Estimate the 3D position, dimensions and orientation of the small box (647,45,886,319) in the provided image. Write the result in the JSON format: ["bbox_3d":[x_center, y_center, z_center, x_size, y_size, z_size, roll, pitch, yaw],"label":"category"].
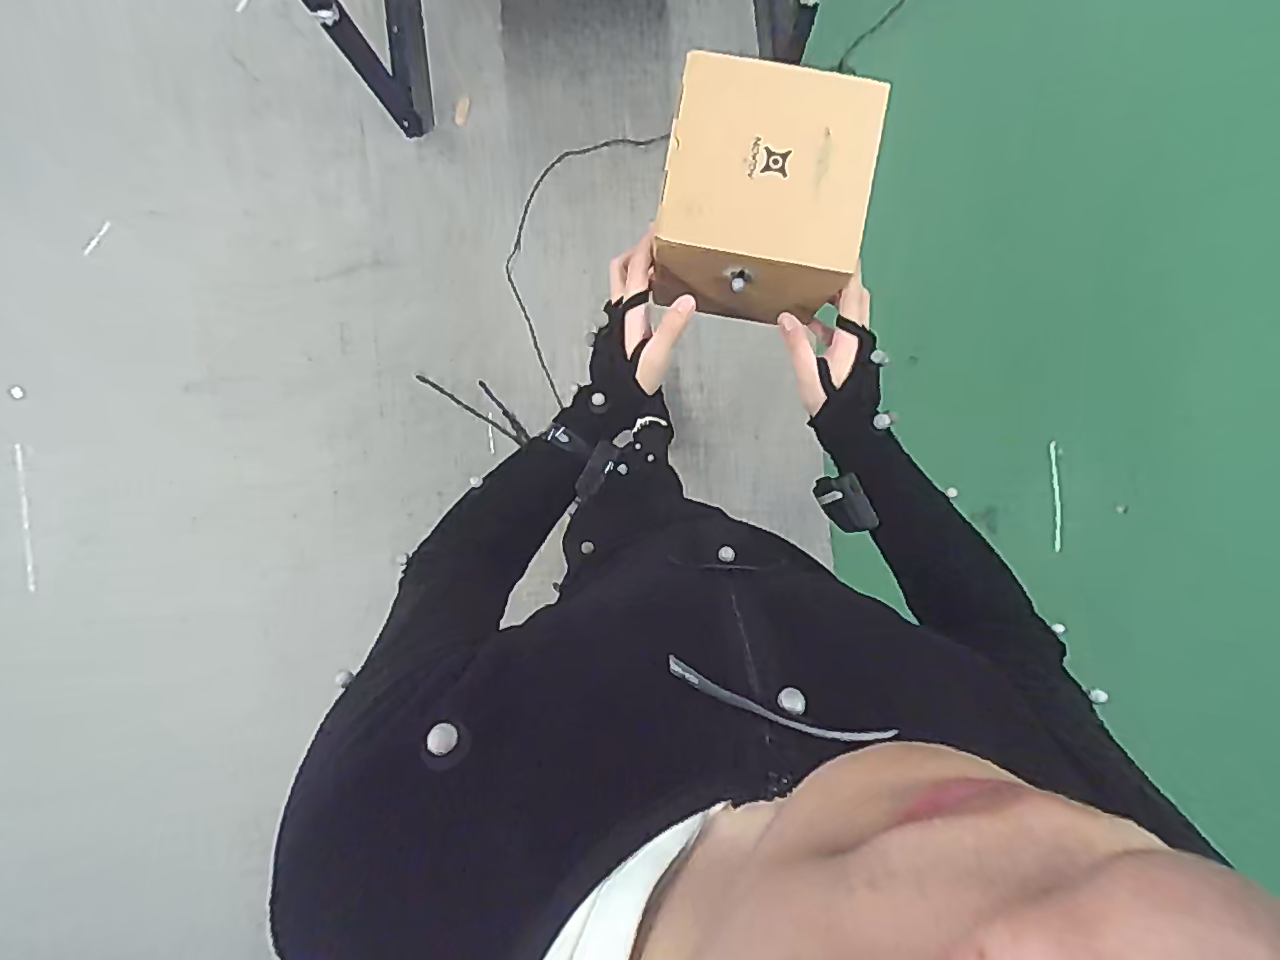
[{"bbox_3d":[0.109,-0.273,0.535,0.179,0.176,0.168,11,90,2],"label":"small box"}]
